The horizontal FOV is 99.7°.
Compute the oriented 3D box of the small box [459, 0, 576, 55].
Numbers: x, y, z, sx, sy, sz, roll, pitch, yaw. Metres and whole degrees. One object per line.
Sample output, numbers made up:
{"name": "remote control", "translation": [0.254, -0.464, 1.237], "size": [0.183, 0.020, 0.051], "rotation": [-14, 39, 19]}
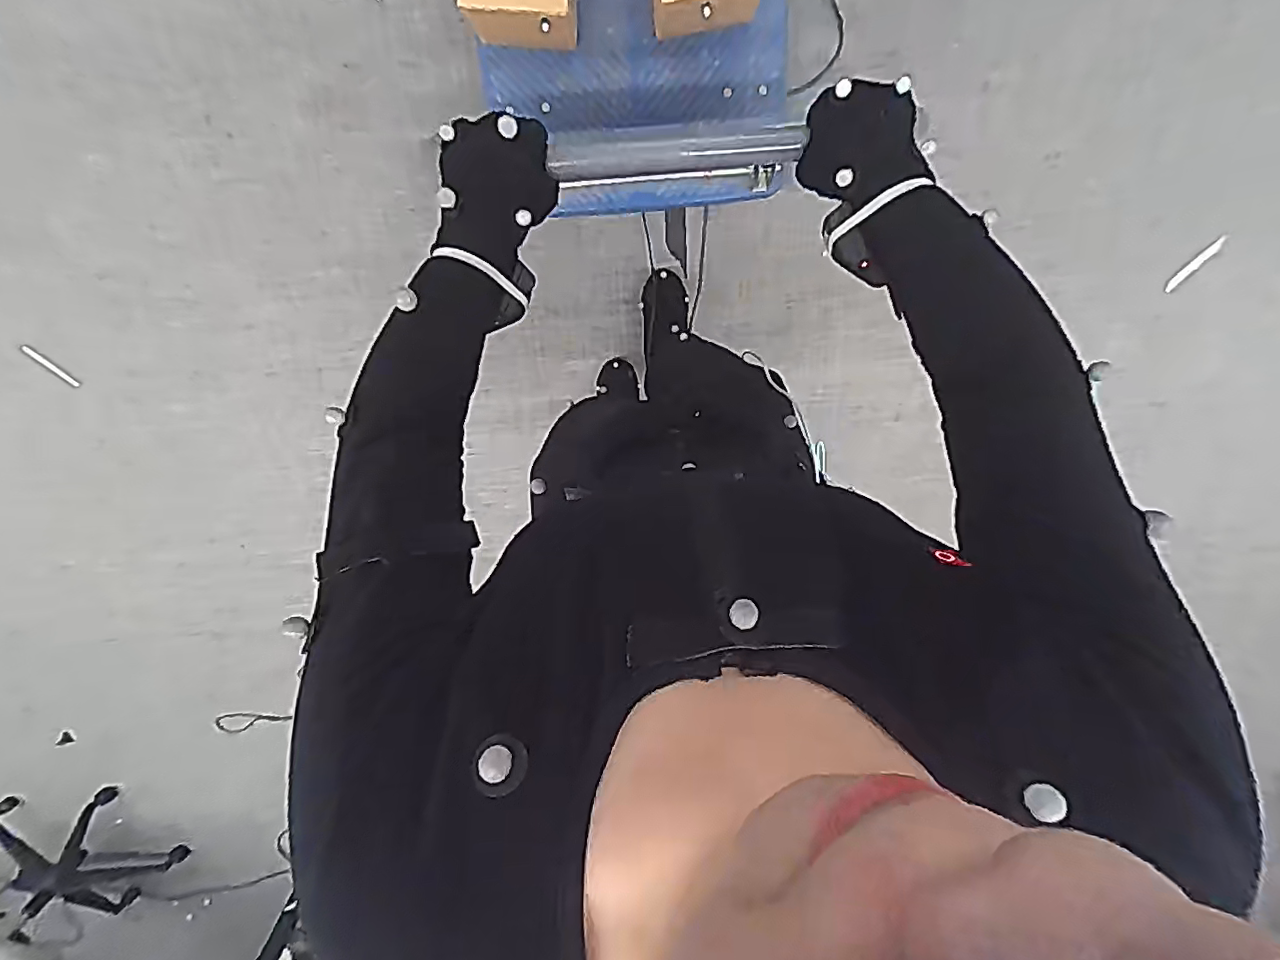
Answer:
{"name": "small box", "translation": [-0.201, -0.842, 0.907], "size": [0.179, 0.176, 0.168], "rotation": [0, 113, -4]}

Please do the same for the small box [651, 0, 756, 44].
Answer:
{"name": "small box", "translation": [0.103, -0.869, 0.905], "size": [0.179, 0.176, 0.168], "rotation": [-10, 113, 2]}
